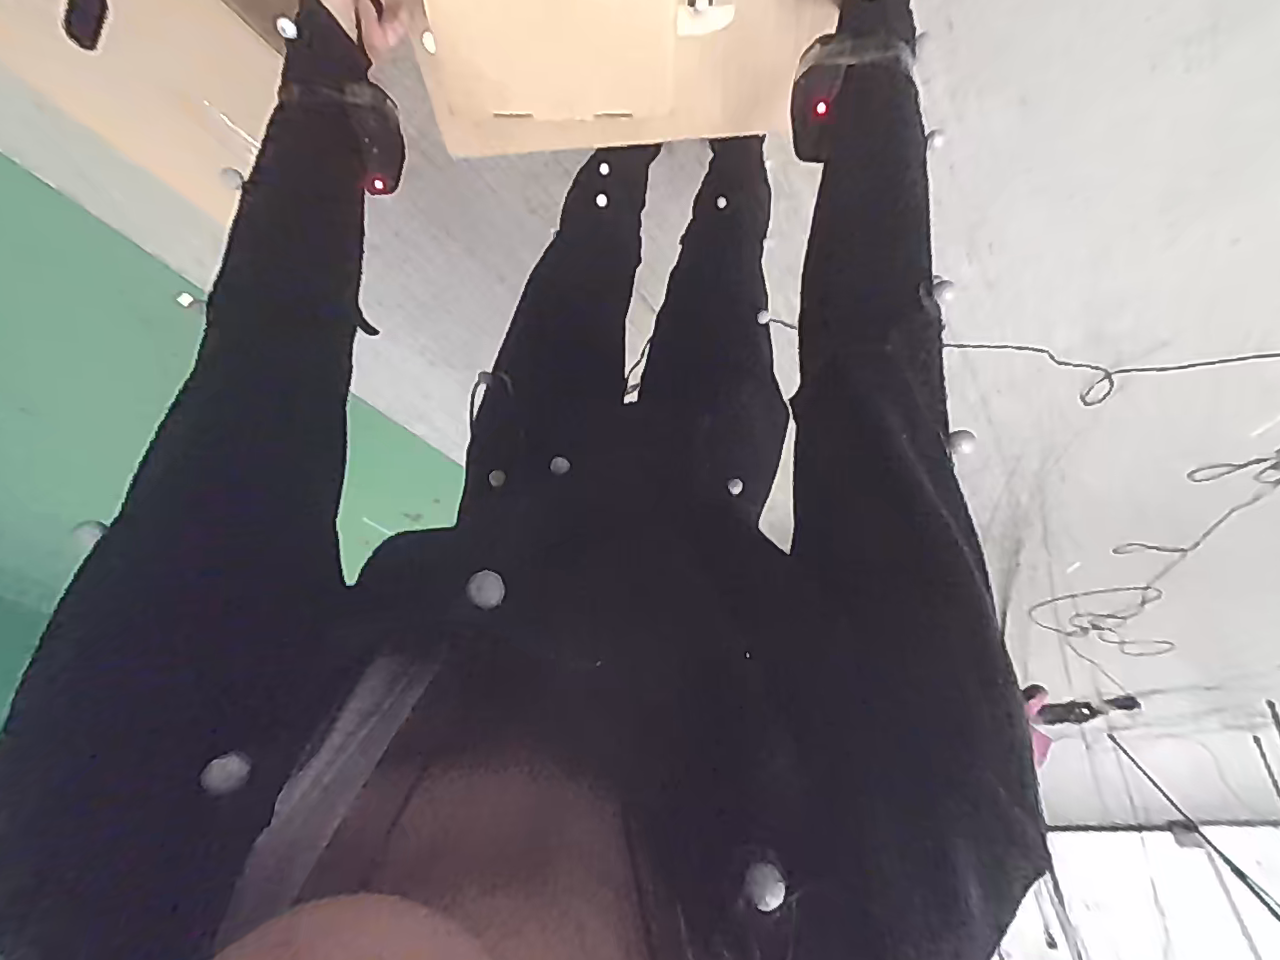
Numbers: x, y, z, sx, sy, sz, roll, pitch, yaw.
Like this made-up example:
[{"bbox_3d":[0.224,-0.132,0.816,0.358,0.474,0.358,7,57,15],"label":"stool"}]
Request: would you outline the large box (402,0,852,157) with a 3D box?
[{"bbox_3d":[-0.019,-0.564,0.535,0.408,0.320,0.320,-4,142,2],"label":"large box"}]
